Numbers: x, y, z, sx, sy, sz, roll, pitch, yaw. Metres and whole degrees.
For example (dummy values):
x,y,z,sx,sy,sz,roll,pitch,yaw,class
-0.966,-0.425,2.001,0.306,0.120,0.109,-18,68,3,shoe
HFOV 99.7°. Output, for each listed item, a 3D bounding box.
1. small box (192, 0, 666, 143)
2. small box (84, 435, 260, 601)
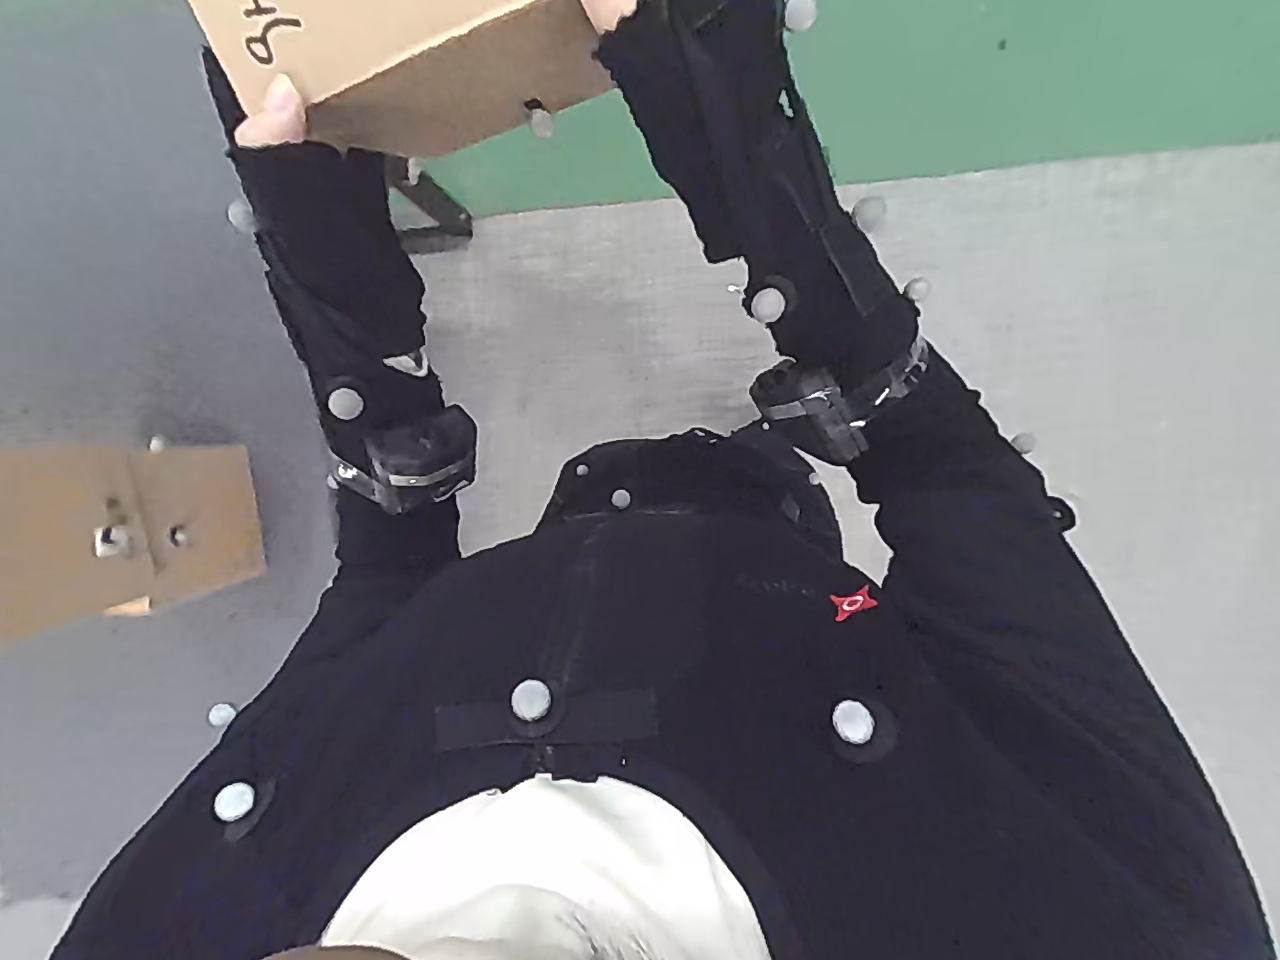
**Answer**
x,y,z,sx,sy,sz,roll,pitch,yaw,class
-0.089,-0.271,0.238,0.179,0.176,0.168,-11,114,12,small box
-0.614,0.040,0.672,0.168,0.176,0.179,-4,96,6,small box
